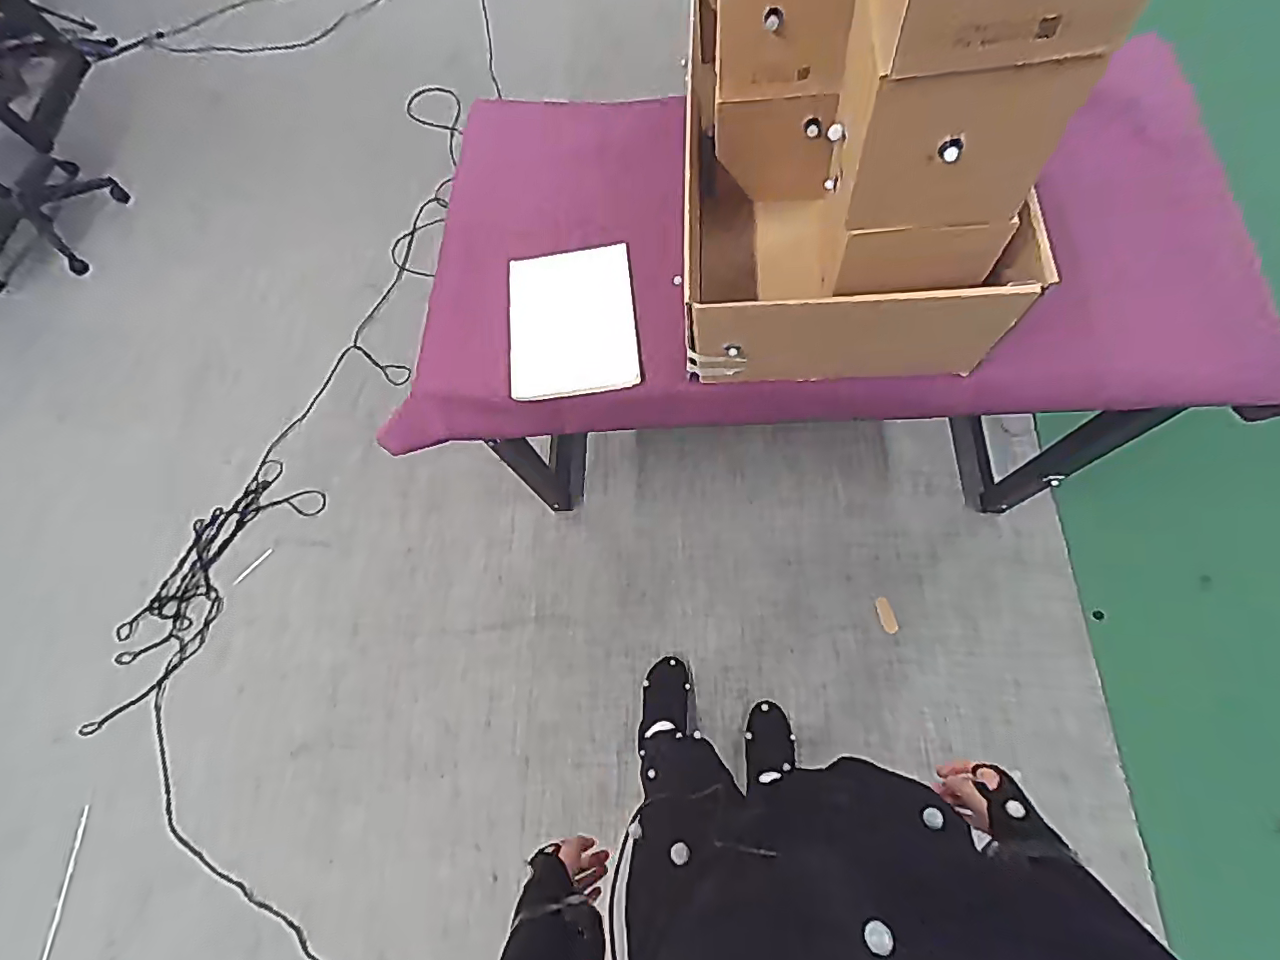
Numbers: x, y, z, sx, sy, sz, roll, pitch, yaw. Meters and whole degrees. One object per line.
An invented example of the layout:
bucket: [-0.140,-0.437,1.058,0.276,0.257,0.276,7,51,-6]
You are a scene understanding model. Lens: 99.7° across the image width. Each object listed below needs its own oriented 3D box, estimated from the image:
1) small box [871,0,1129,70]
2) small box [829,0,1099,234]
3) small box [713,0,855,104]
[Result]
small box: [0.272,-0.432,0.389,0.168,0.176,0.179,1,68,10]
small box: [0.295,-0.374,0.540,0.179,0.176,0.168,0,68,11]
small box: [0.173,-0.584,0.644,0.168,0.176,0.179,0,72,9]
